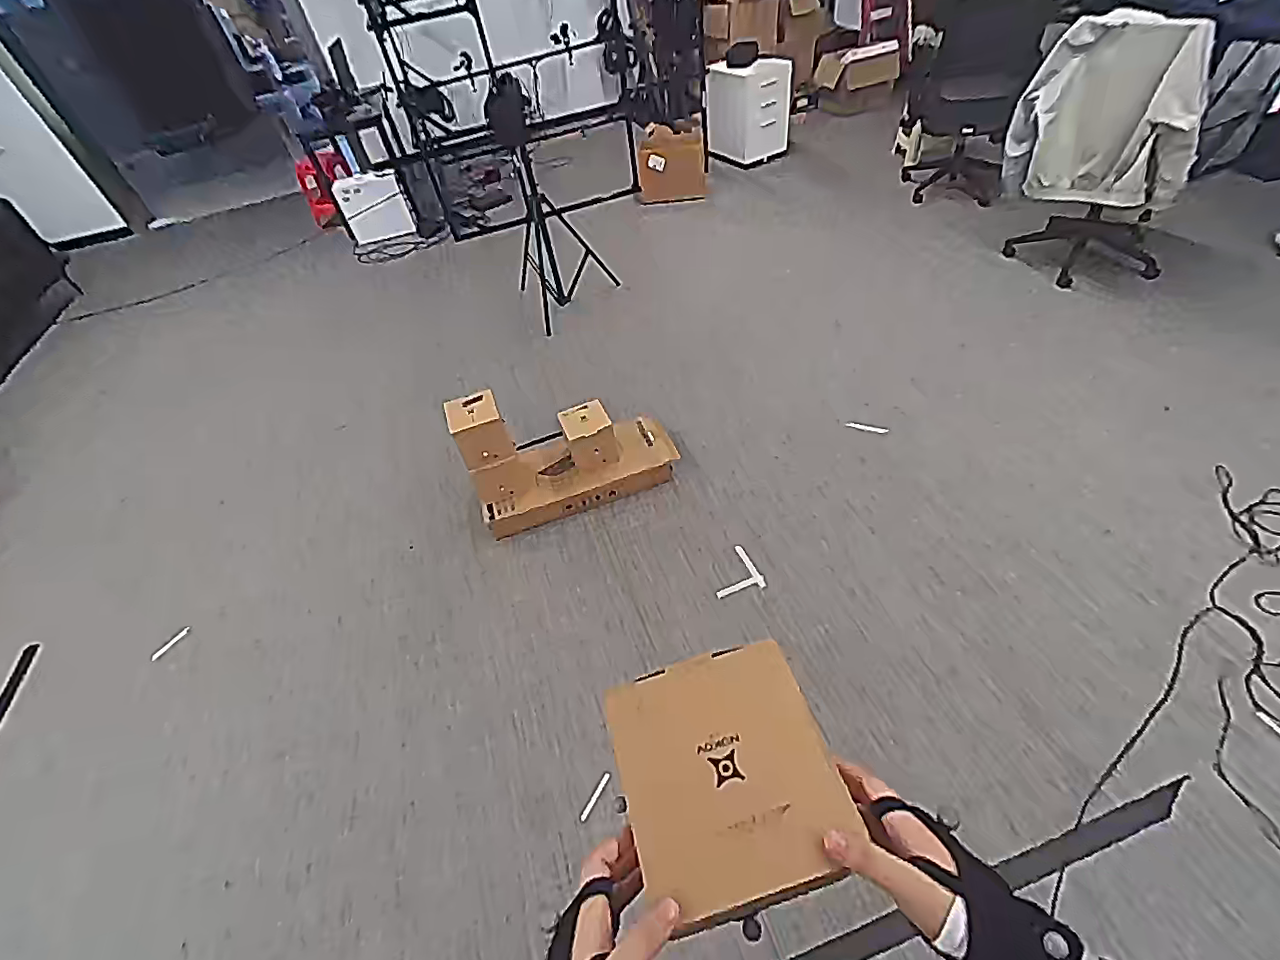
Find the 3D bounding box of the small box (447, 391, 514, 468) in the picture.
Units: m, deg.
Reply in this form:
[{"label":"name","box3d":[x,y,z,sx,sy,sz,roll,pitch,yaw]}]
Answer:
[{"label":"small box","box3d":[-0.544,-0.170,1.848,0.168,0.176,0.179,-20,47,-9]}]

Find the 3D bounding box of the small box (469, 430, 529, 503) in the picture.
[{"label":"small box","box3d":[-0.515,-0.048,1.955,0.168,0.176,0.179,-19,46,-8]}]

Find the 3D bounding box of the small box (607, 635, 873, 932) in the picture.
[{"label":"small box","box3d":[0.076,0.275,0.490,0.168,0.176,0.179,-16,48,-5]}]

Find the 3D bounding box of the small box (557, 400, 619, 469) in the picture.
[{"label":"small box","box3d":[-0.189,-0.161,2.002,0.168,0.176,0.179,-21,47,-9]}]
